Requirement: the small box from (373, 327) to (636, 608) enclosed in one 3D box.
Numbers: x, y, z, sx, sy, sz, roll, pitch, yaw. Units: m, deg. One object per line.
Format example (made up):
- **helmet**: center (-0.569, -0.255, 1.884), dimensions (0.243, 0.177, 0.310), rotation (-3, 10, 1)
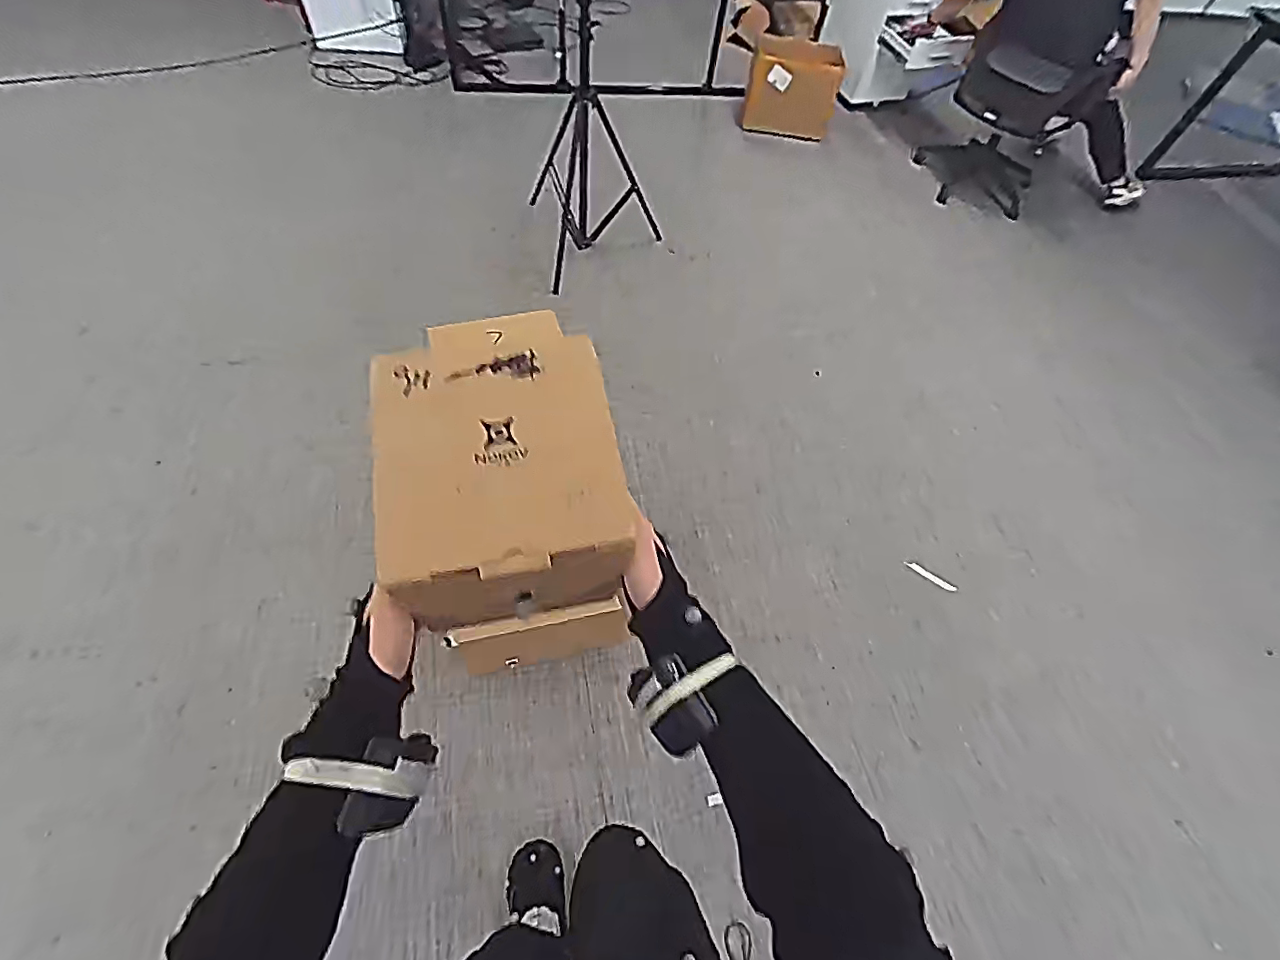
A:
- **small box**: center (-0.108, 0.001, 0.449), dimensions (0.168, 0.176, 0.179), rotation (-8, 67, -13)
